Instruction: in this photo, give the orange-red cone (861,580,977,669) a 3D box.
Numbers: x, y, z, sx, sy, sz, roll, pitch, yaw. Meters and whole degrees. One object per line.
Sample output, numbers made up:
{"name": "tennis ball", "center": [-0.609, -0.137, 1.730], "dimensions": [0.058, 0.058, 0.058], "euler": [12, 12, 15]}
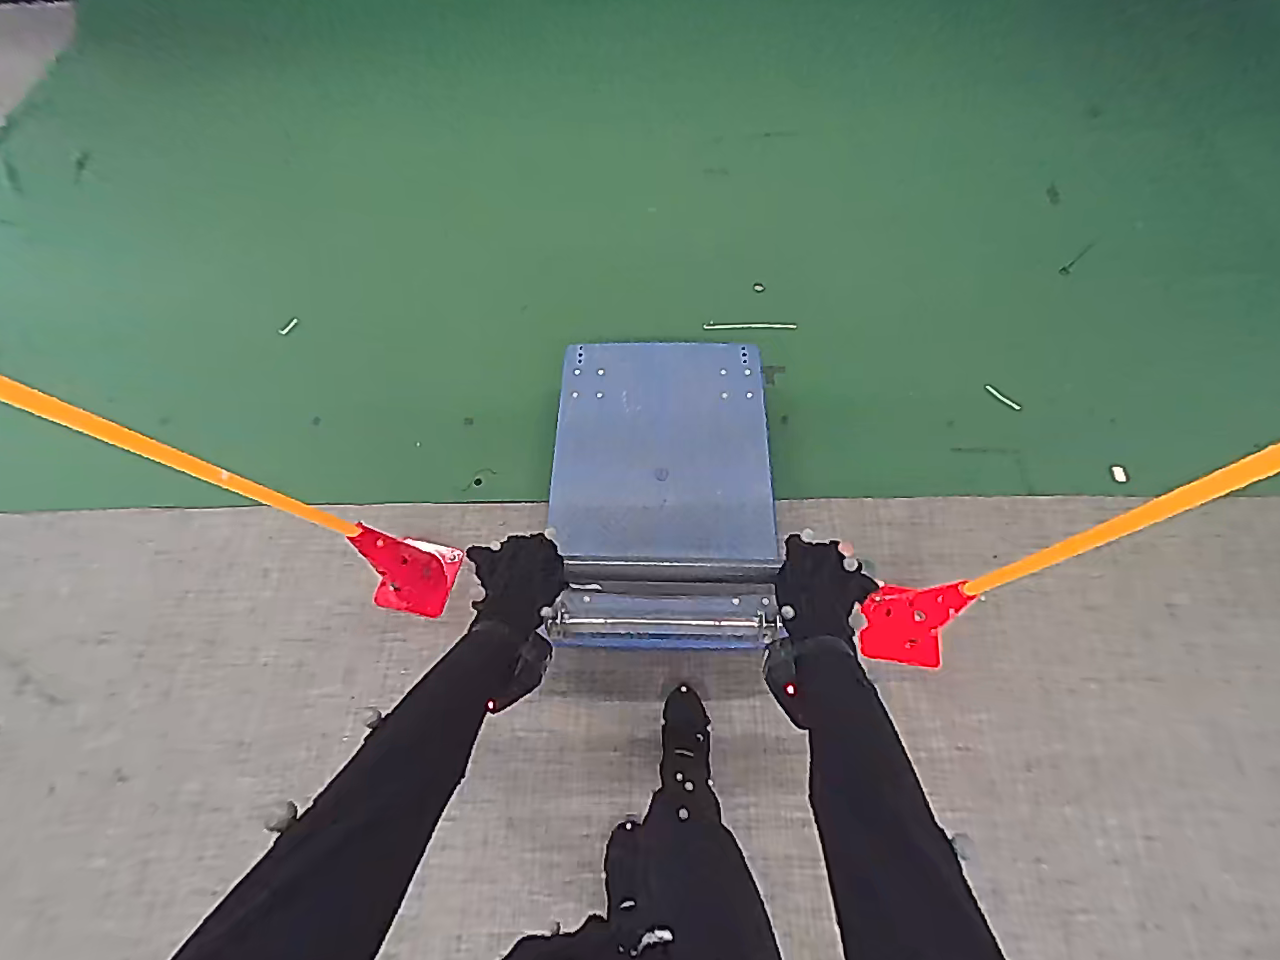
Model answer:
{"name": "orange-red cone", "center": [0.668, 0.298, 1.245], "dimensions": [0.198, 0.360, 0.199], "euler": [9, 65, 7]}
